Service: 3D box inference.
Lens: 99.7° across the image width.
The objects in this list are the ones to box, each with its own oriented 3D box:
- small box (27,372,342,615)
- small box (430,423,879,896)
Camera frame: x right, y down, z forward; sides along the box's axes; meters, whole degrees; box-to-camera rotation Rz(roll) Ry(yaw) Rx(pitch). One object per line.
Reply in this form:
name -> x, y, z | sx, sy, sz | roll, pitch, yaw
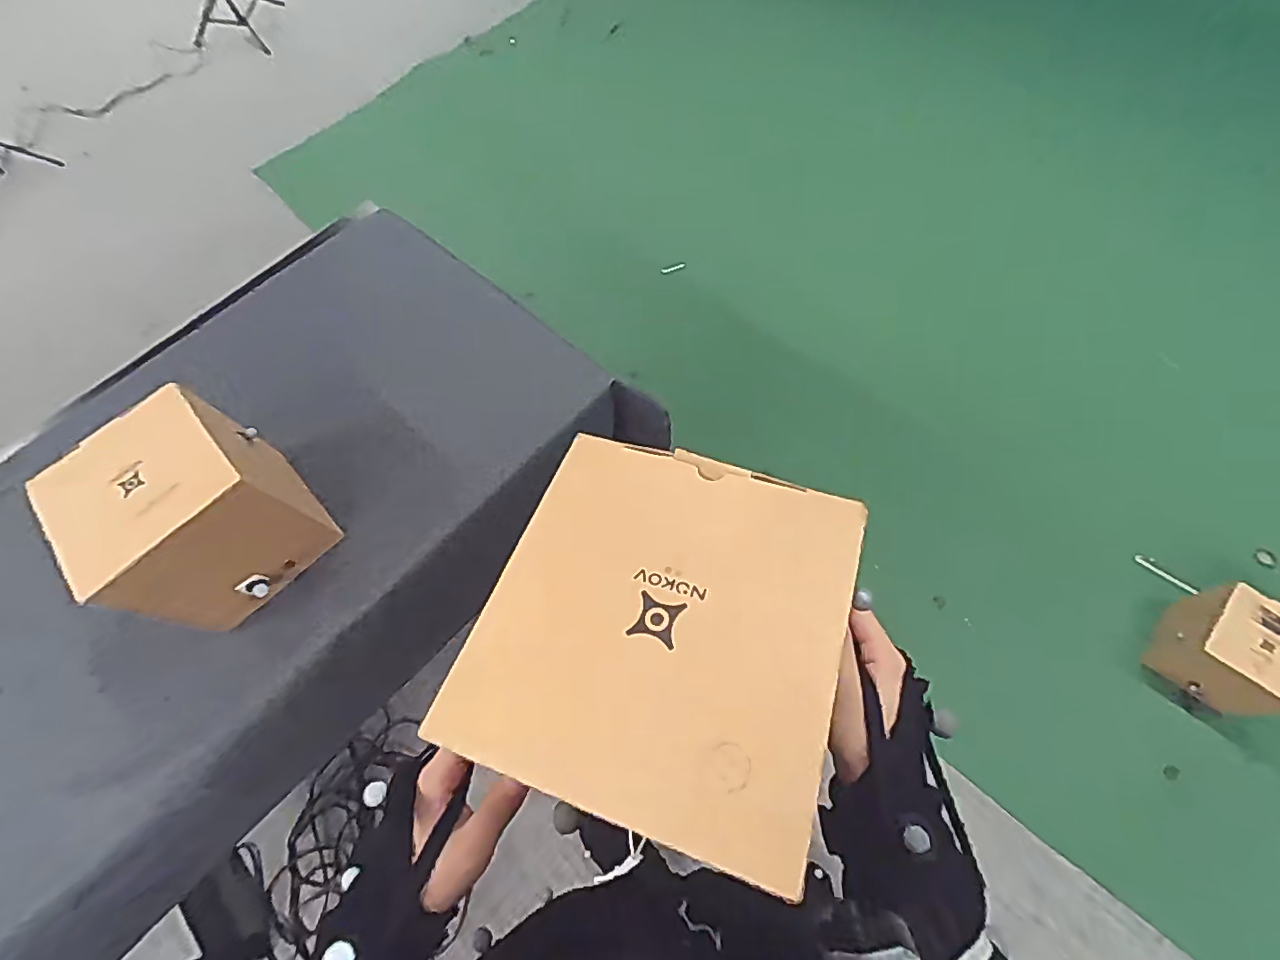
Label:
small box -> -0.478, 0.025, 0.591 | 0.179, 0.176, 0.168 | 40, 77, 21
small box -> 0.022, 0.099, 0.316 | 0.168, 0.176, 0.179 | 15, 60, 15
